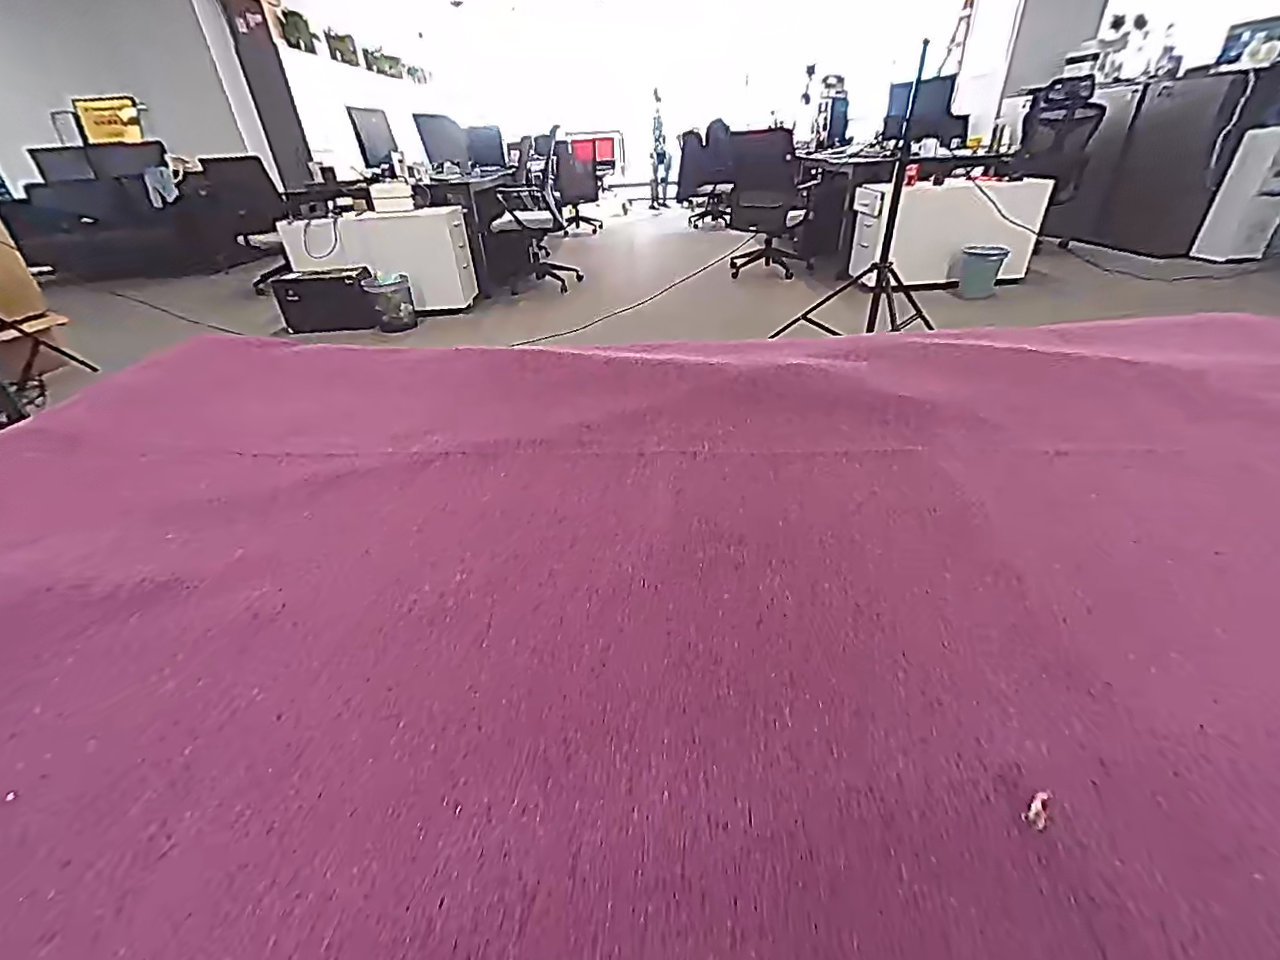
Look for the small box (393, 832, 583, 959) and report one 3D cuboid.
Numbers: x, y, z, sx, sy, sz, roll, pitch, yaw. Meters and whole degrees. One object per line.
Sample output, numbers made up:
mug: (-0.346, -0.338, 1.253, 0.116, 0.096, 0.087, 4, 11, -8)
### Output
small box: (-0.152, 0.514, 0.573, 0.168, 0.176, 0.179, -5, 34, -2)
